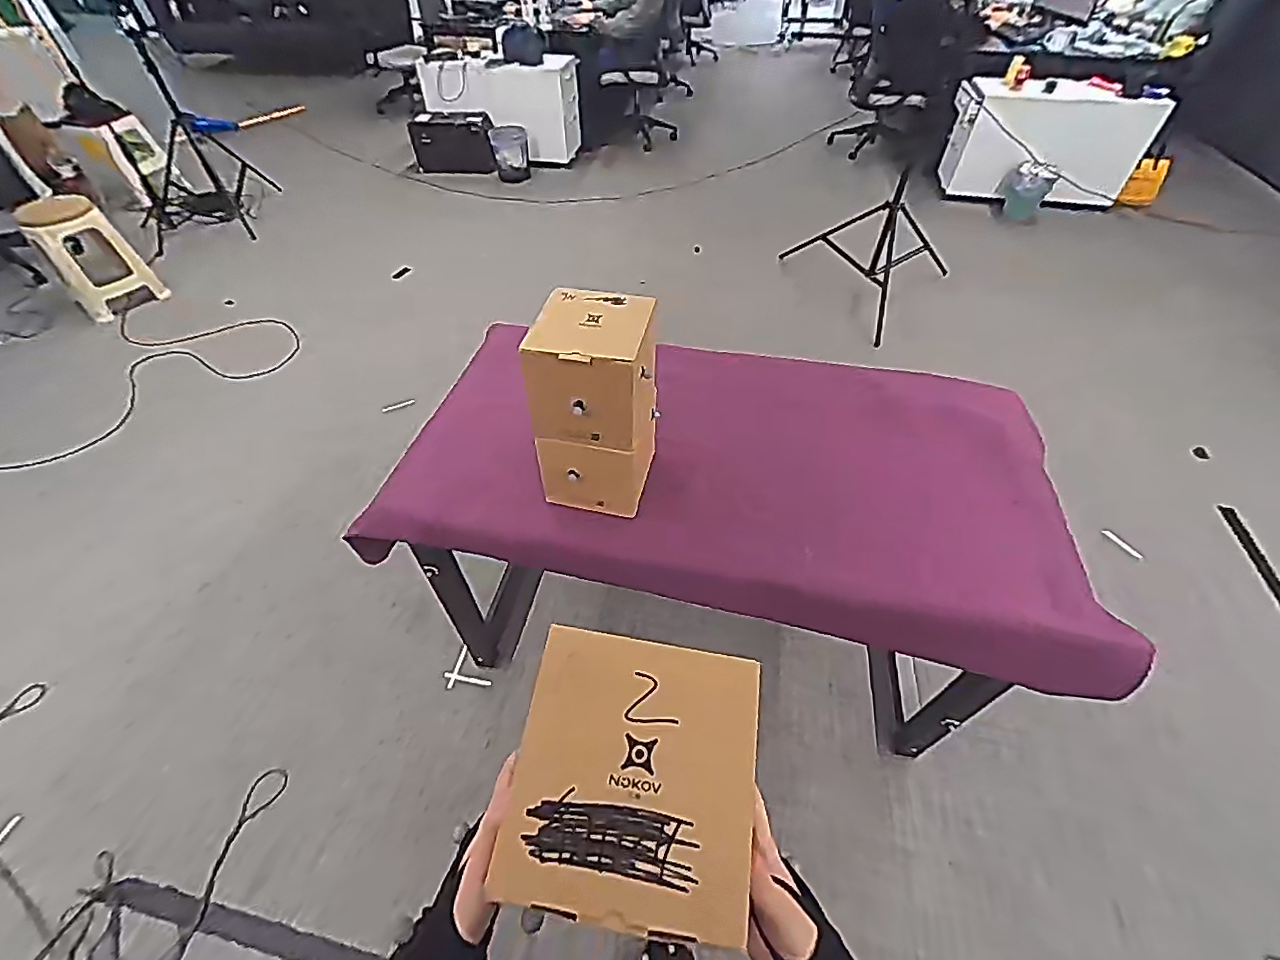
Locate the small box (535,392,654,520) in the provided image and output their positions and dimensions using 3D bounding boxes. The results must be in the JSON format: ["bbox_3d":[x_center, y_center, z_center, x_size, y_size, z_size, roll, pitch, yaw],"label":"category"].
[{"bbox_3d":[-0.071,-0.052,0.970,0.168,0.176,0.179,10,48,8],"label":"small box"}]

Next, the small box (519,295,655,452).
[{"bbox_3d":[-0.072,-0.165,0.852,0.168,0.176,0.179,9,49,7],"label":"small box"}]
